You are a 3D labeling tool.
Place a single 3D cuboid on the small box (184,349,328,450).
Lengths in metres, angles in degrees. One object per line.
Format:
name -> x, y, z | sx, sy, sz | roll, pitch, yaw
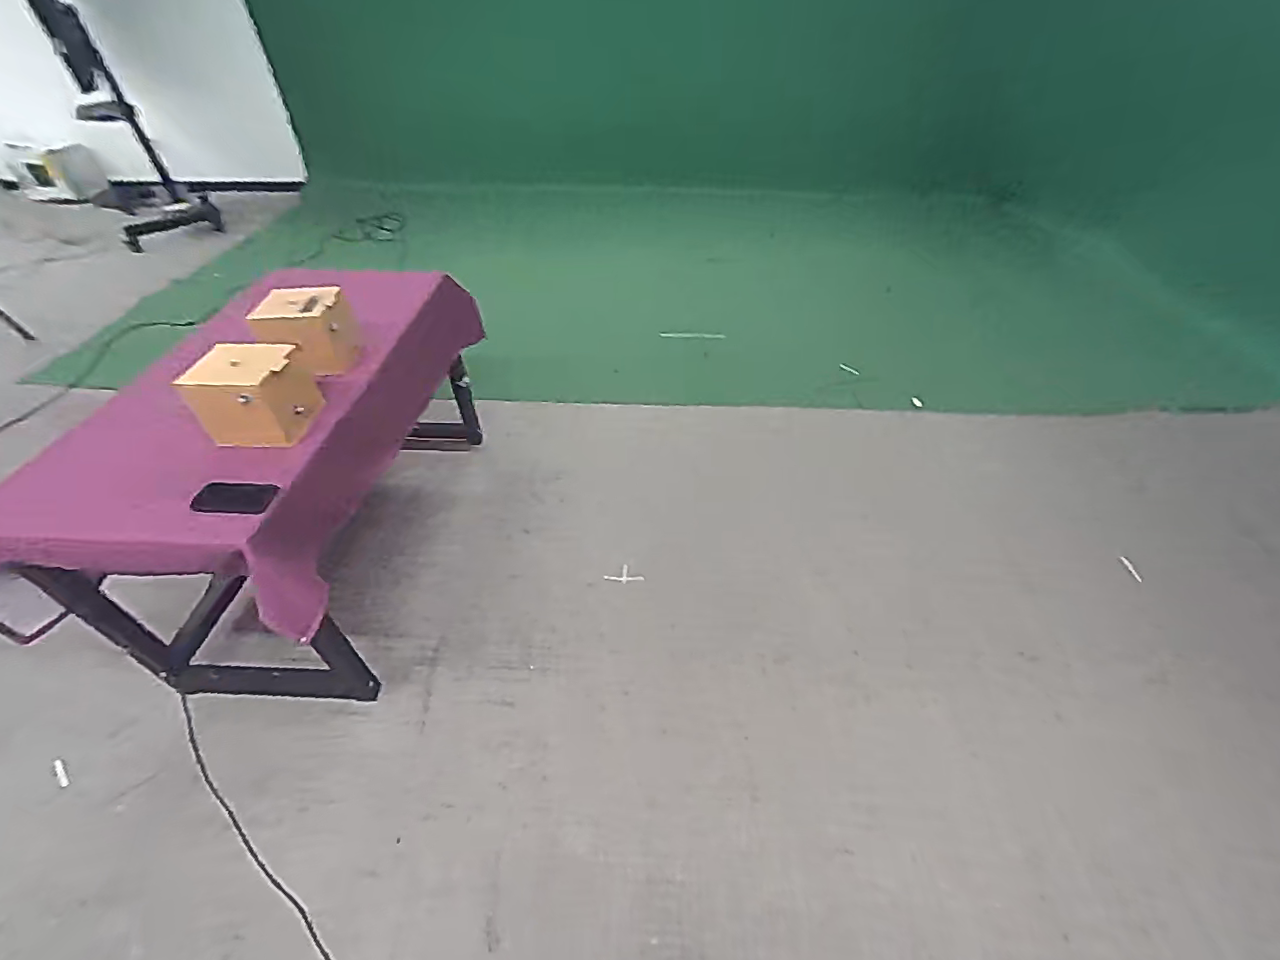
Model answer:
small box -> -0.852, -0.181, 1.222 | 0.179, 0.176, 0.168 | 1, 44, 1
